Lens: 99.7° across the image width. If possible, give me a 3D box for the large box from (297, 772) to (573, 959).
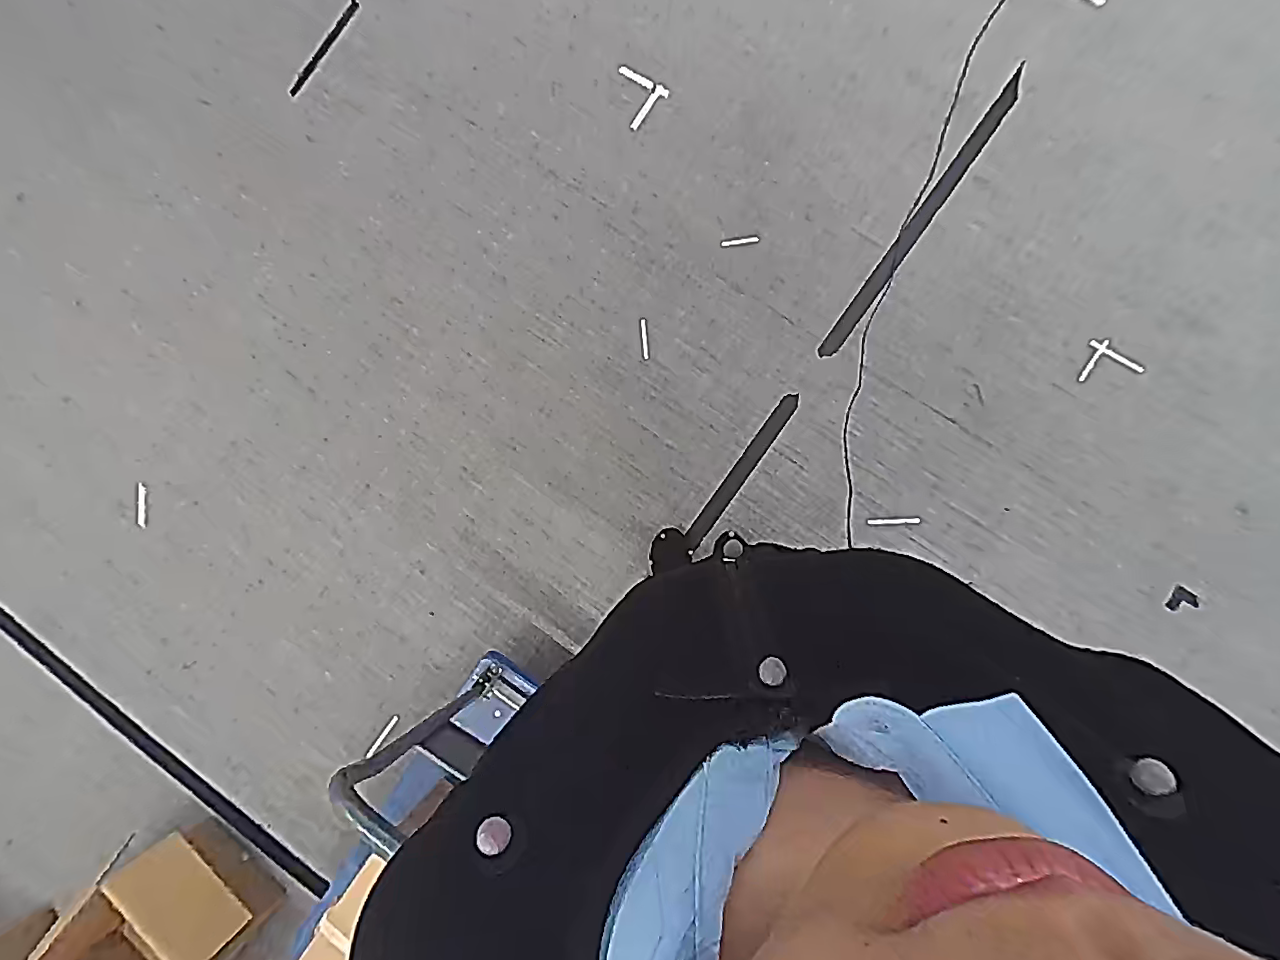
[{"bbox_3d":[-0.410,0.927,1.153,0.408,0.320,0.320,34,89,5],"label":"large box"}]
